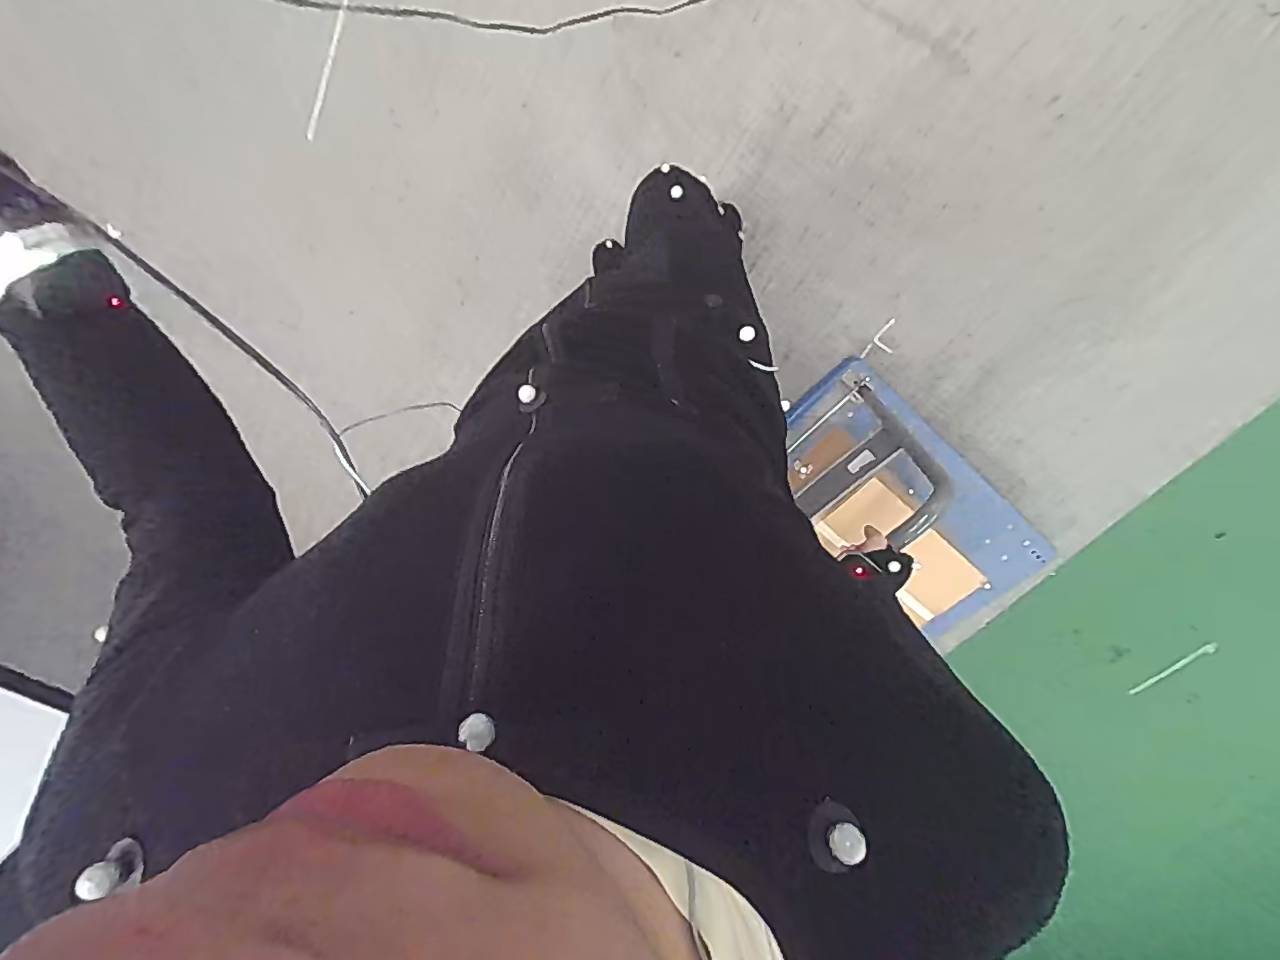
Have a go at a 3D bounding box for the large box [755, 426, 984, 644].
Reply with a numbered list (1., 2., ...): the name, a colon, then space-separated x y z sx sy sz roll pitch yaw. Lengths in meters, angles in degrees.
1. large box: 0.557 0.133 1.391 0.408 0.320 0.320 38 115 -14
